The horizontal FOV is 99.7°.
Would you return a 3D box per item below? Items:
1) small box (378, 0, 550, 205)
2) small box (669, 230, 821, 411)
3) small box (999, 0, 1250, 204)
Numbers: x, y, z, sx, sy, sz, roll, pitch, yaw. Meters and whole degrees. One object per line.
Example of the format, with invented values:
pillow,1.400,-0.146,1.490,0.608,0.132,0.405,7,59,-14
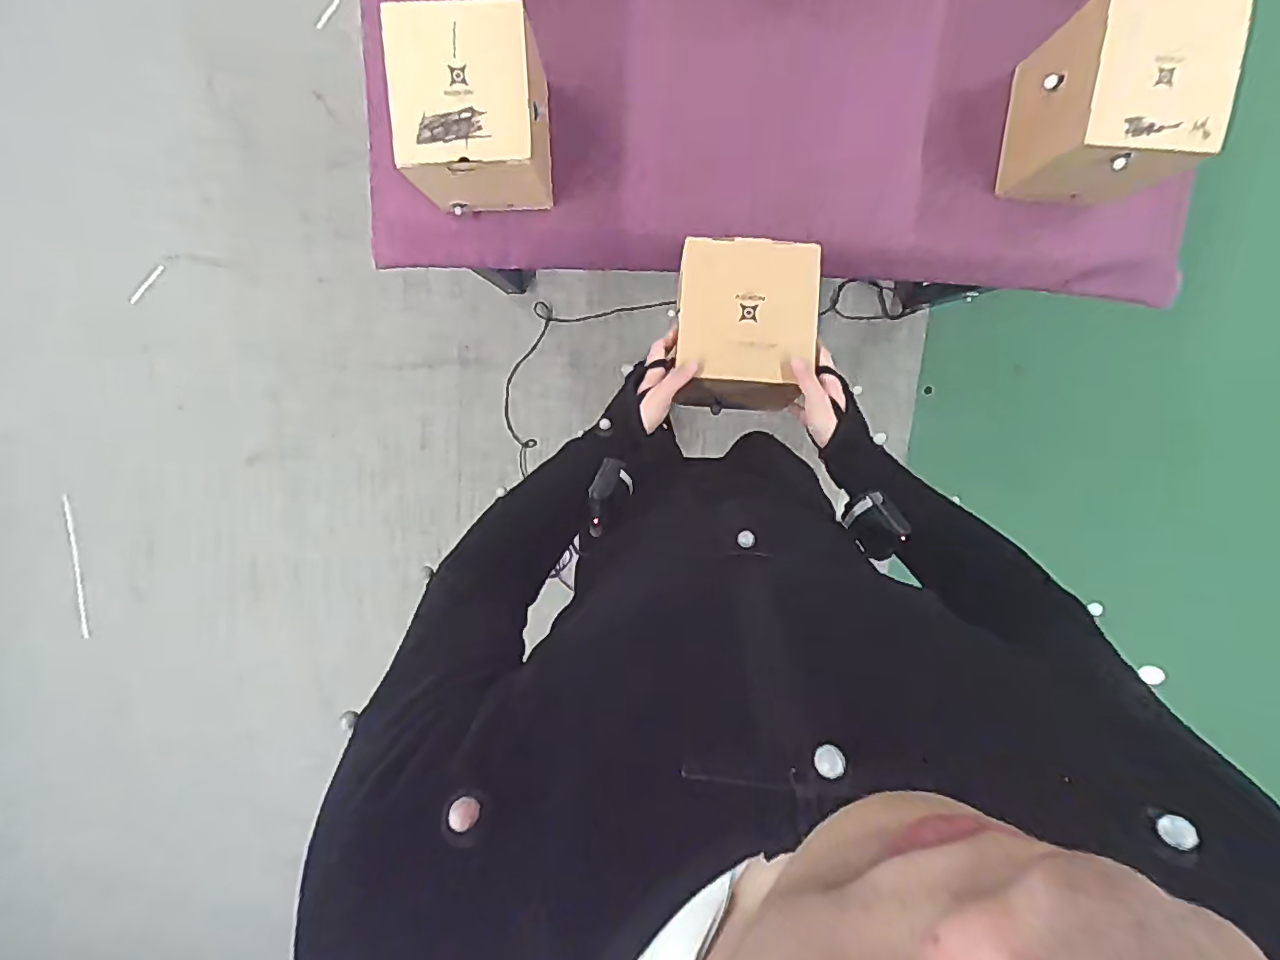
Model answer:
small box,-0.213,-0.471,0.702,0.168,0.176,0.179,-2,99,-1
small box,0.128,-0.200,0.717,0.168,0.176,0.179,5,86,1
small box,0.608,-0.487,0.705,0.168,0.176,0.179,4,98,0
